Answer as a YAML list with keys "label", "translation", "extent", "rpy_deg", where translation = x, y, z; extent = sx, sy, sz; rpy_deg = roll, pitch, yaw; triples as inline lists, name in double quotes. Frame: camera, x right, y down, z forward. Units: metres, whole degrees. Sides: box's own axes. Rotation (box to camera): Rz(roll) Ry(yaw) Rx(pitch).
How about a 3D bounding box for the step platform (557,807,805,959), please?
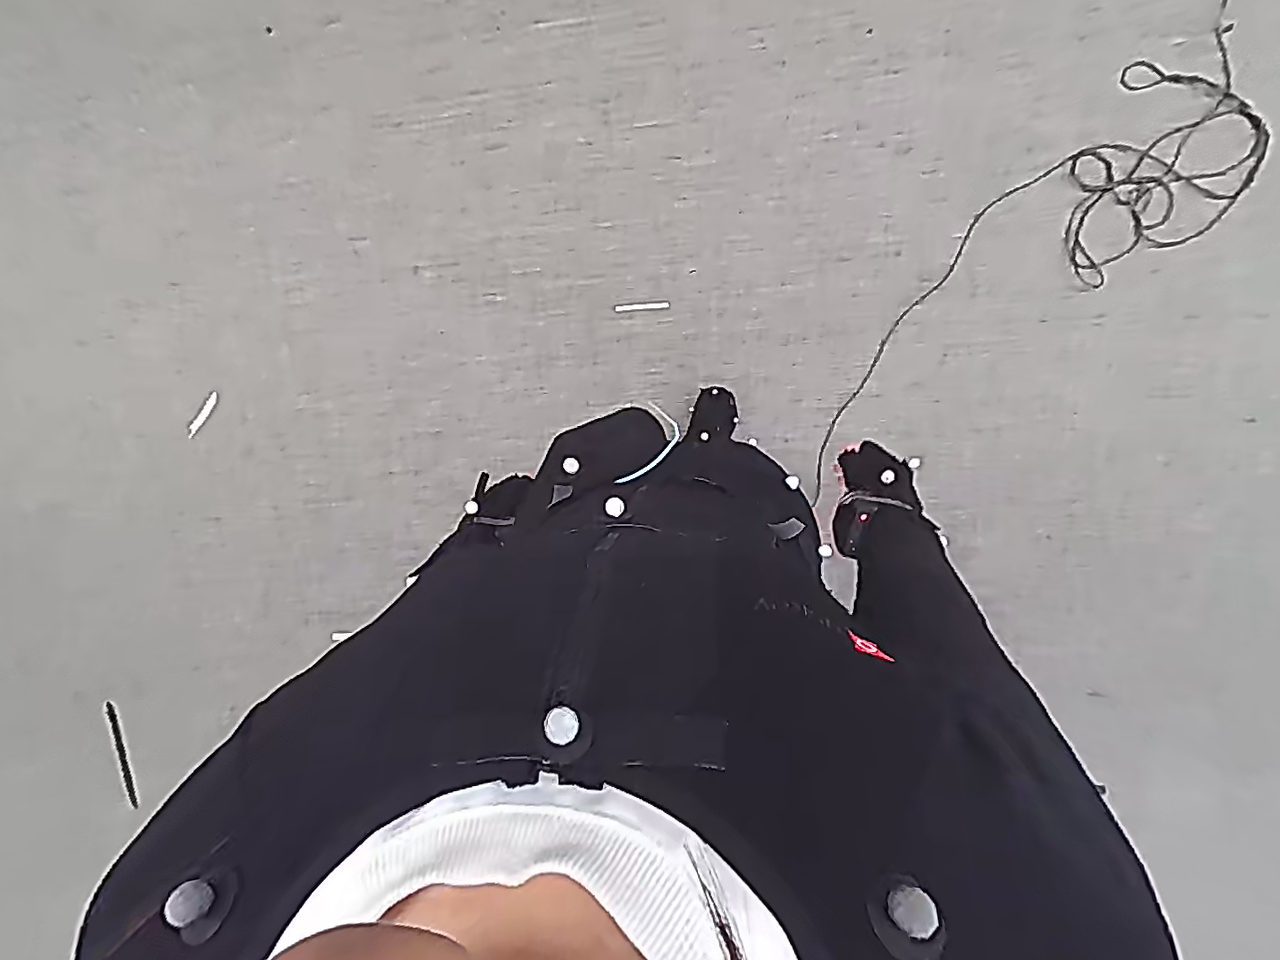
- label: "step platform"
  translation: [0.110, 1.125, 1.524]
  extent: [0.684, 0.204, 0.286]
  rpy_deg: [-3, 98, 9]
